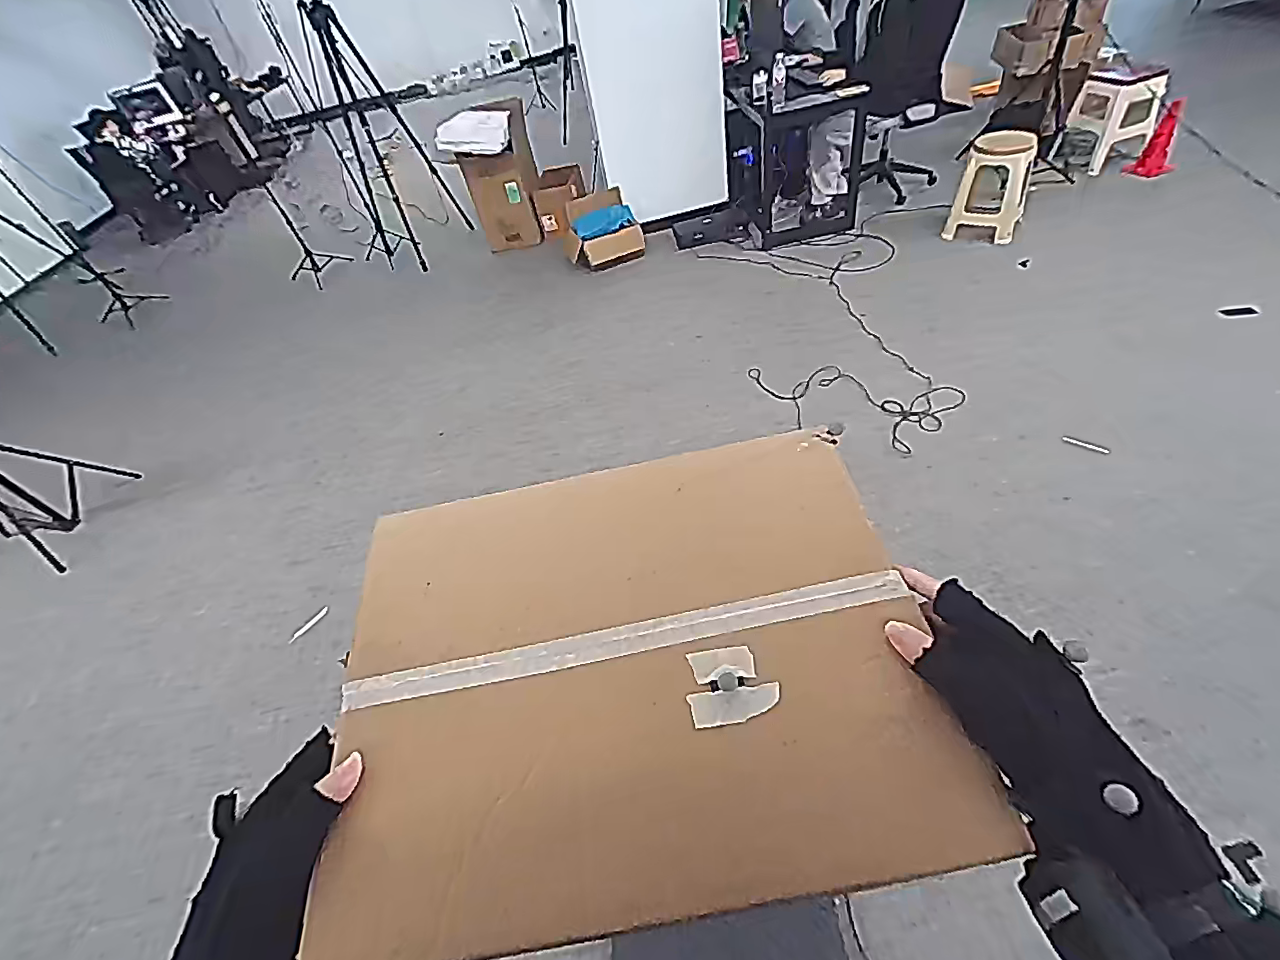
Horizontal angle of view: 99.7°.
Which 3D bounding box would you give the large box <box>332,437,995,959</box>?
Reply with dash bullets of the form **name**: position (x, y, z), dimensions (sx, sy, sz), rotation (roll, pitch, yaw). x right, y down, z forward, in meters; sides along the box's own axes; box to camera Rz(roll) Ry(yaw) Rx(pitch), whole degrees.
- **large box**: position (0.008, 0.207, 0.519), dimensions (0.408, 0.320, 0.320), rotation (-11, 53, 1)
